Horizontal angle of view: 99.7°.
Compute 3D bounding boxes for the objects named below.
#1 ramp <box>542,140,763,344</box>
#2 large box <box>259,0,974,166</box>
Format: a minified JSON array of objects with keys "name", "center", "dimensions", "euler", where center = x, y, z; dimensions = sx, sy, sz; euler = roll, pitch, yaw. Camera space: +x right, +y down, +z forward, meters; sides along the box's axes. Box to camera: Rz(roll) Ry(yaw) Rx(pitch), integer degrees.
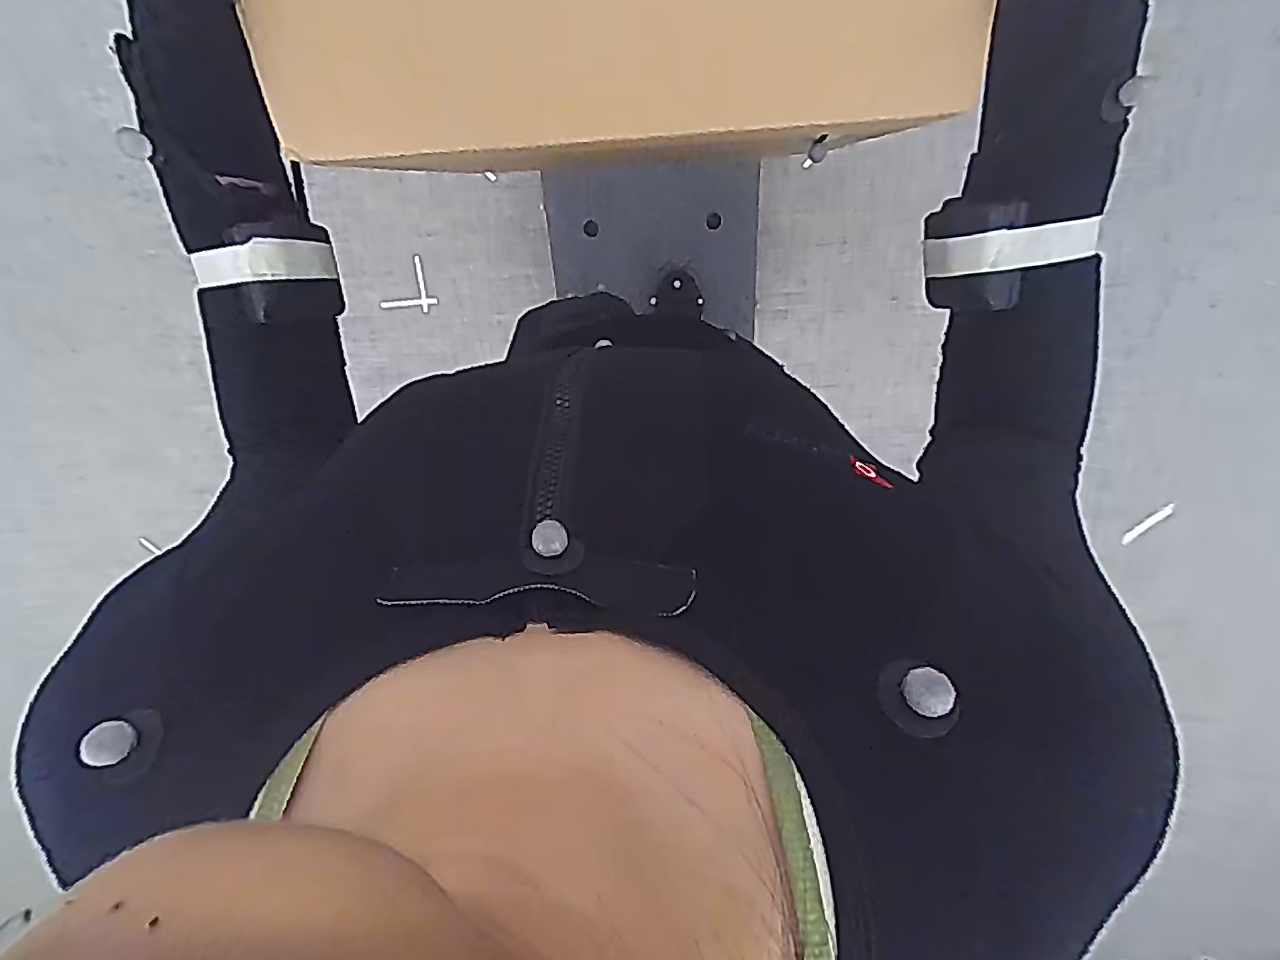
[{"name":"ramp","center":[0.020,-0.795,1.156],"dimensions":[0.509,0.206,0.991],"euler":[-3,110,4]},{"name":"large box","center":[-0.014,-0.418,0.385],"dimensions":[0.408,0.320,0.320],"euler":[-1,118,5]}]
